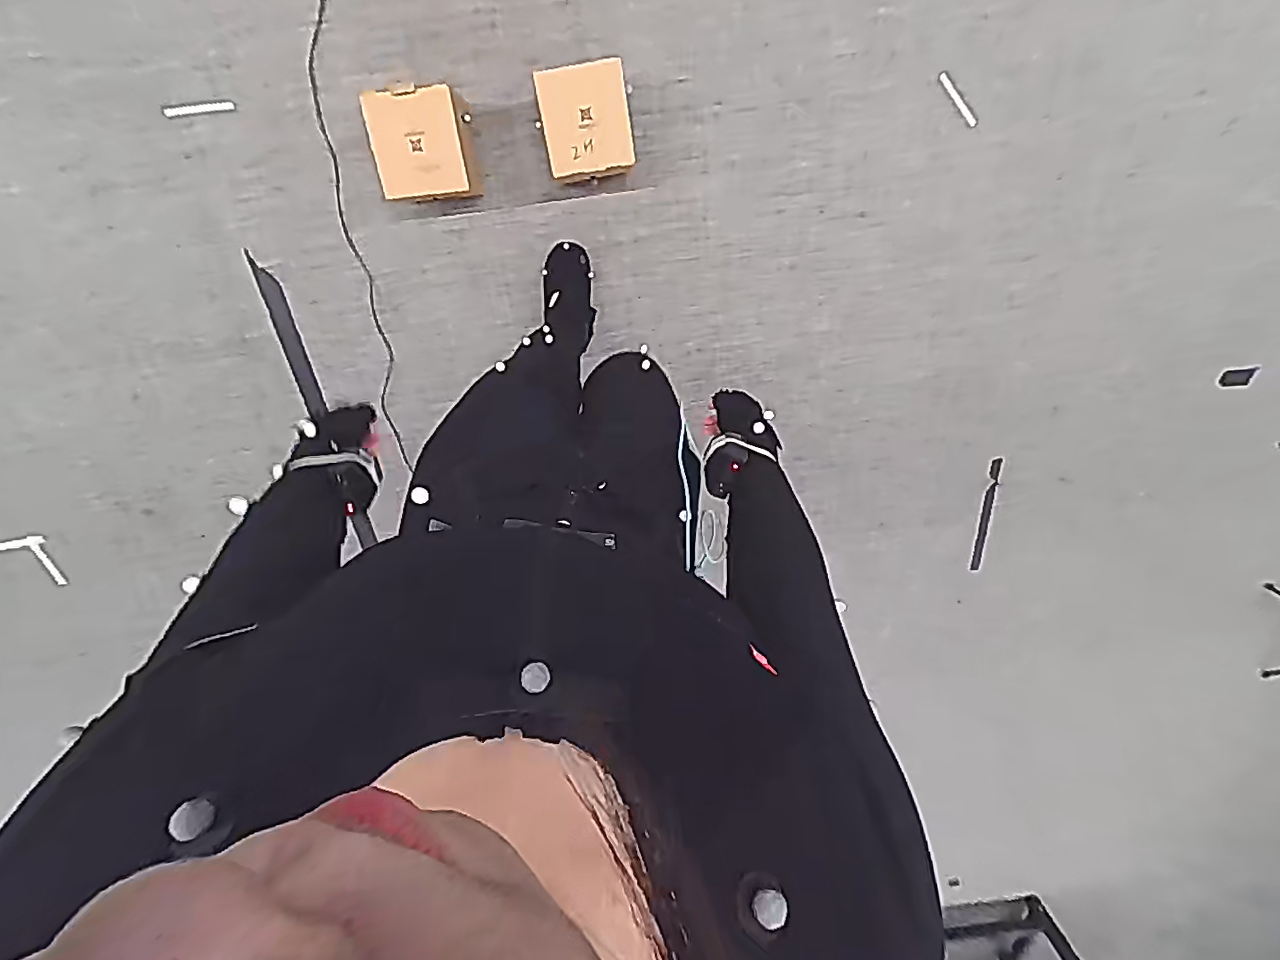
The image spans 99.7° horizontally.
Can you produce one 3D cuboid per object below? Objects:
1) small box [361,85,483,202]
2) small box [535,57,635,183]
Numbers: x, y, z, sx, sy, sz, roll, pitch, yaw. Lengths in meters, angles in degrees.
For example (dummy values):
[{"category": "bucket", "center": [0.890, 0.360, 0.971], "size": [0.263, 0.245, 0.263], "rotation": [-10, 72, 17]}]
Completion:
[{"category": "small box", "center": [-0.425, -0.667, 1.088], "size": [0.168, 0.176, 0.179], "rotation": [-7, 117, -2]}, {"category": "small box", "center": [-0.109, -0.716, 1.093], "size": [0.168, 0.176, 0.179], "rotation": [-10, 116, 0]}]
